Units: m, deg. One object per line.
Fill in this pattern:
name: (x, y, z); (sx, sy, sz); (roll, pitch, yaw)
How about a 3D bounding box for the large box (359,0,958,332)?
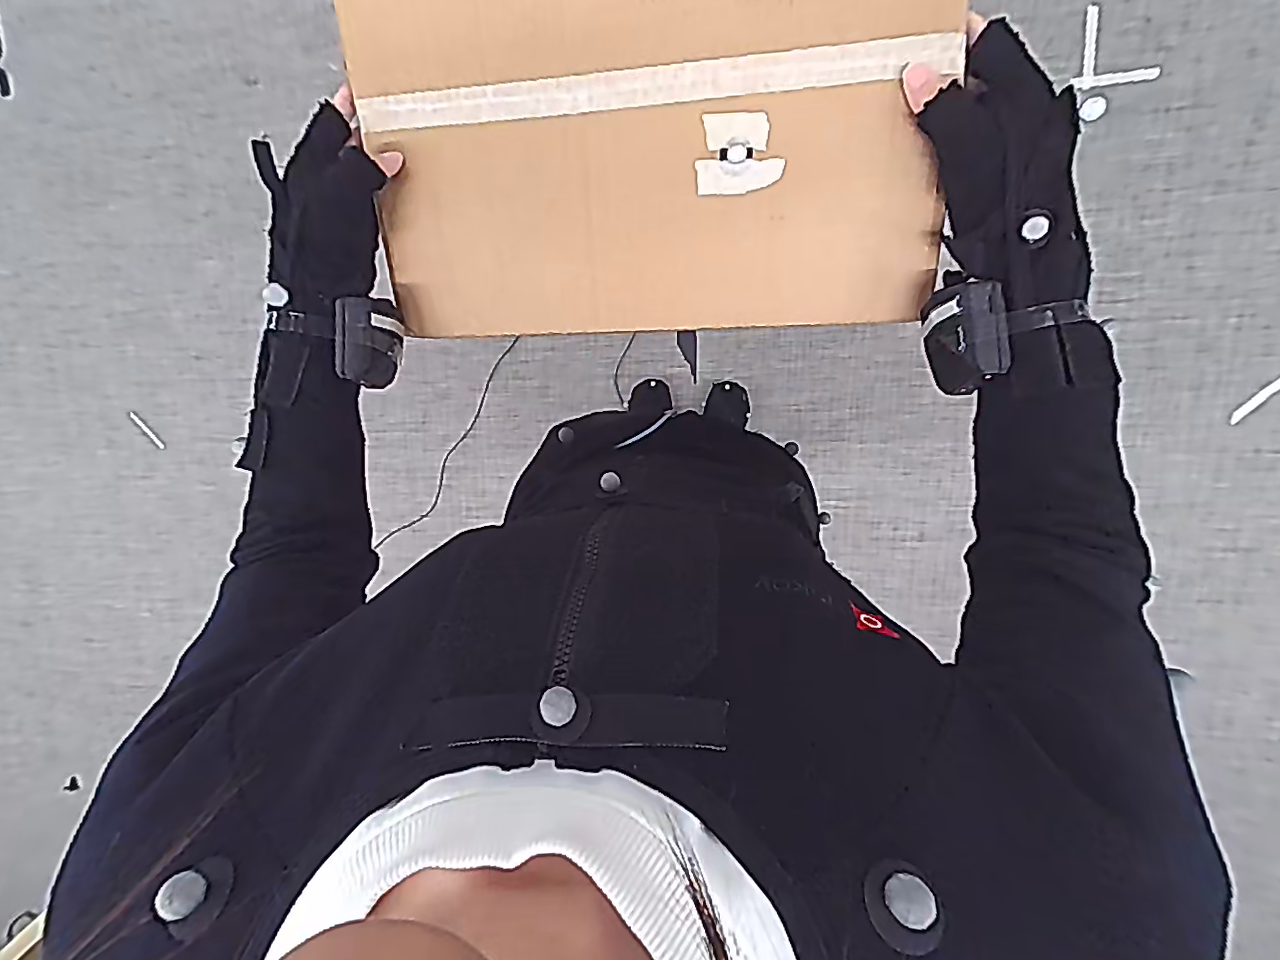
large box: (0.022, -0.322, 0.511); (0.408, 0.320, 0.320); (0, 111, 8)
